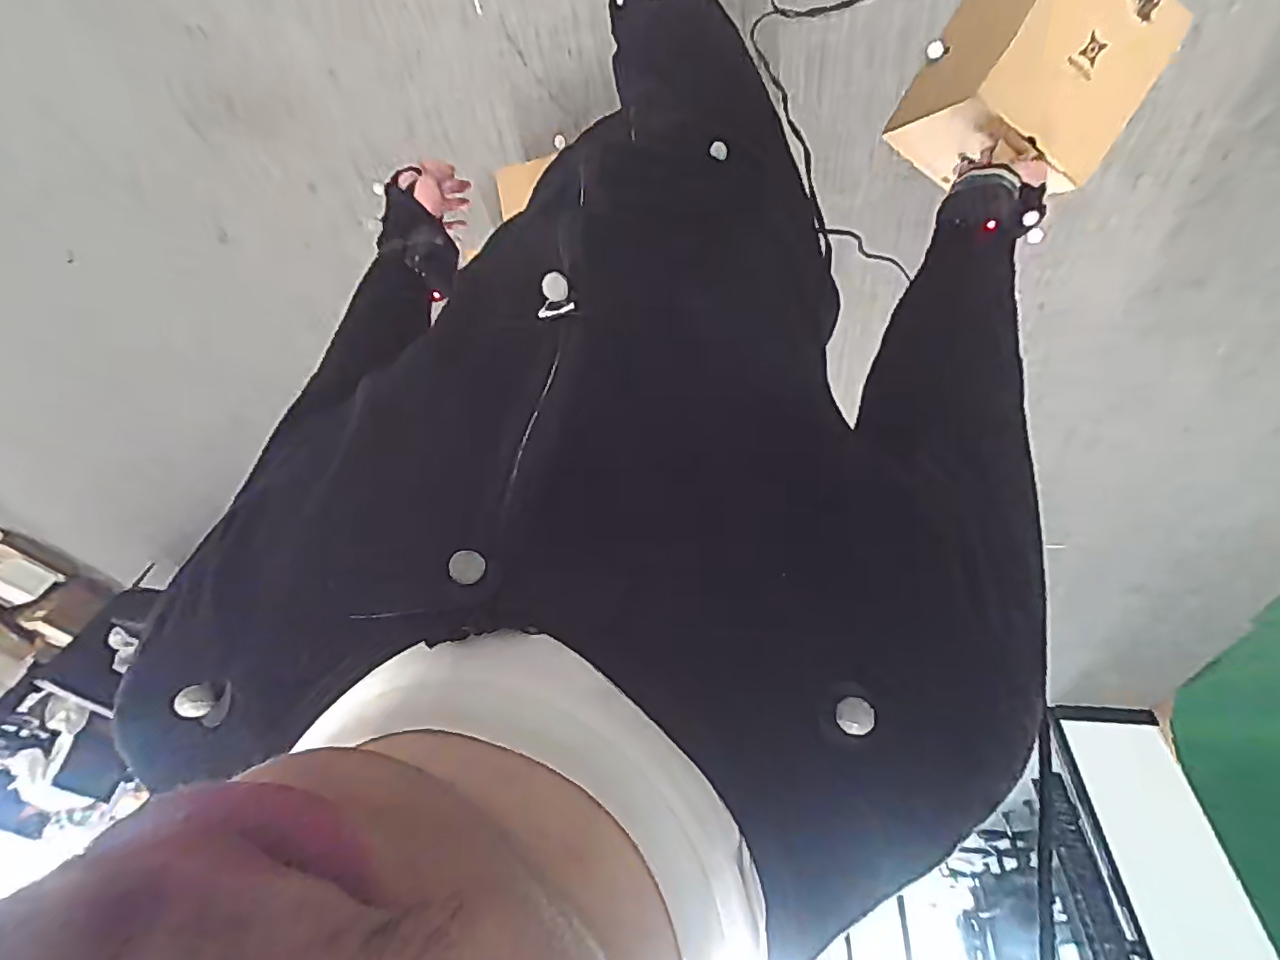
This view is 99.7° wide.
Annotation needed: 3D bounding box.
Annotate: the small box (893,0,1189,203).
[{"bbox_3d":[0.420,-0.440,0.605,0.168,0.176,0.179,25,105,-16],"label":"small box"}]
